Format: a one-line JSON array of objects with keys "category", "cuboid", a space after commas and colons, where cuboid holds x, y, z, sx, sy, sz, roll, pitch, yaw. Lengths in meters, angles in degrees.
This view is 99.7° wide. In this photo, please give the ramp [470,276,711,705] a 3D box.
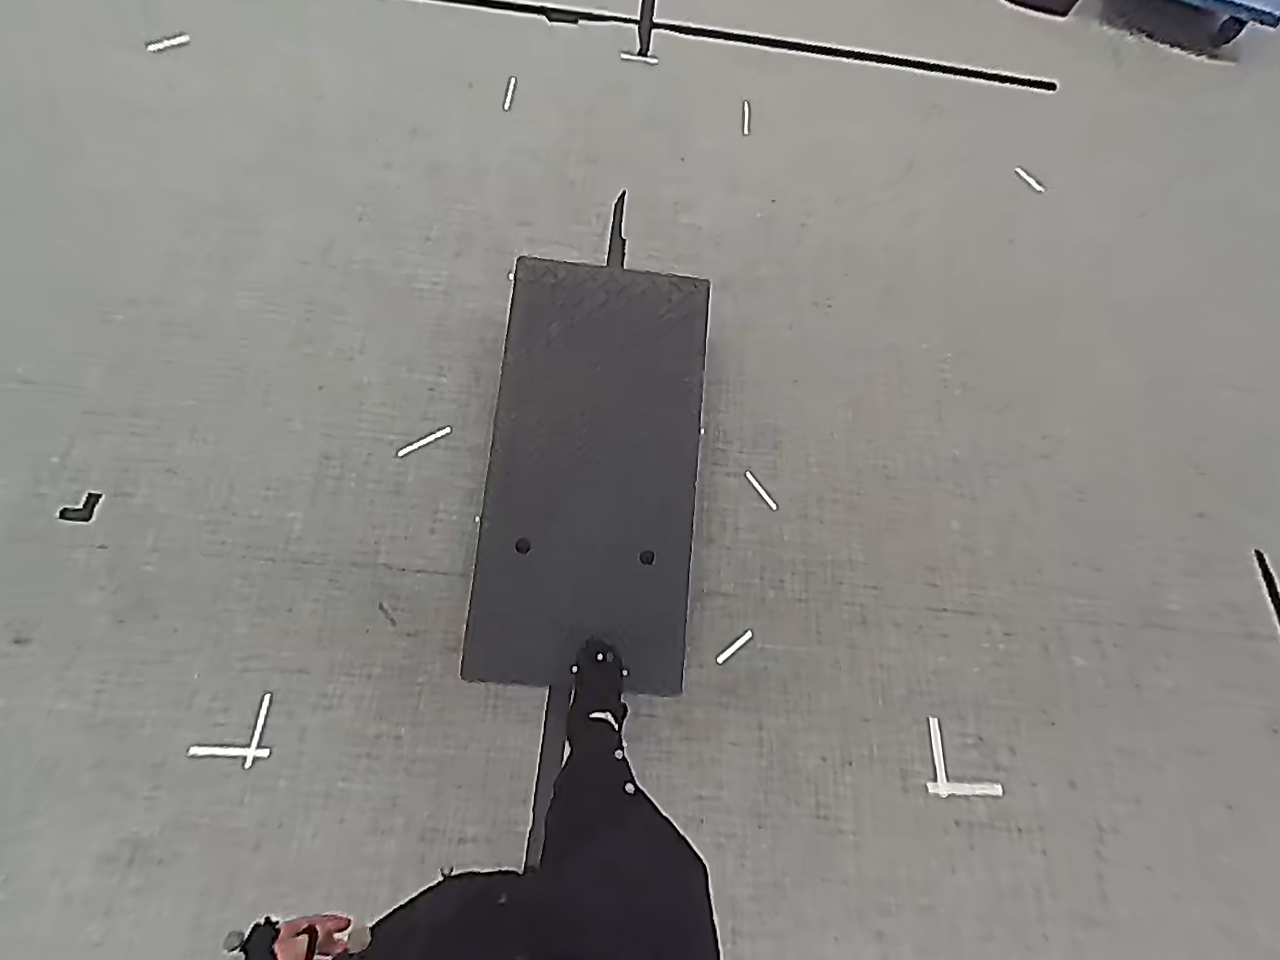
[{"category": "ramp", "cuboid": [-0.092, -0.006, 1.282, 0.509, 0.206, 0.991, 4, 69, -5]}]
